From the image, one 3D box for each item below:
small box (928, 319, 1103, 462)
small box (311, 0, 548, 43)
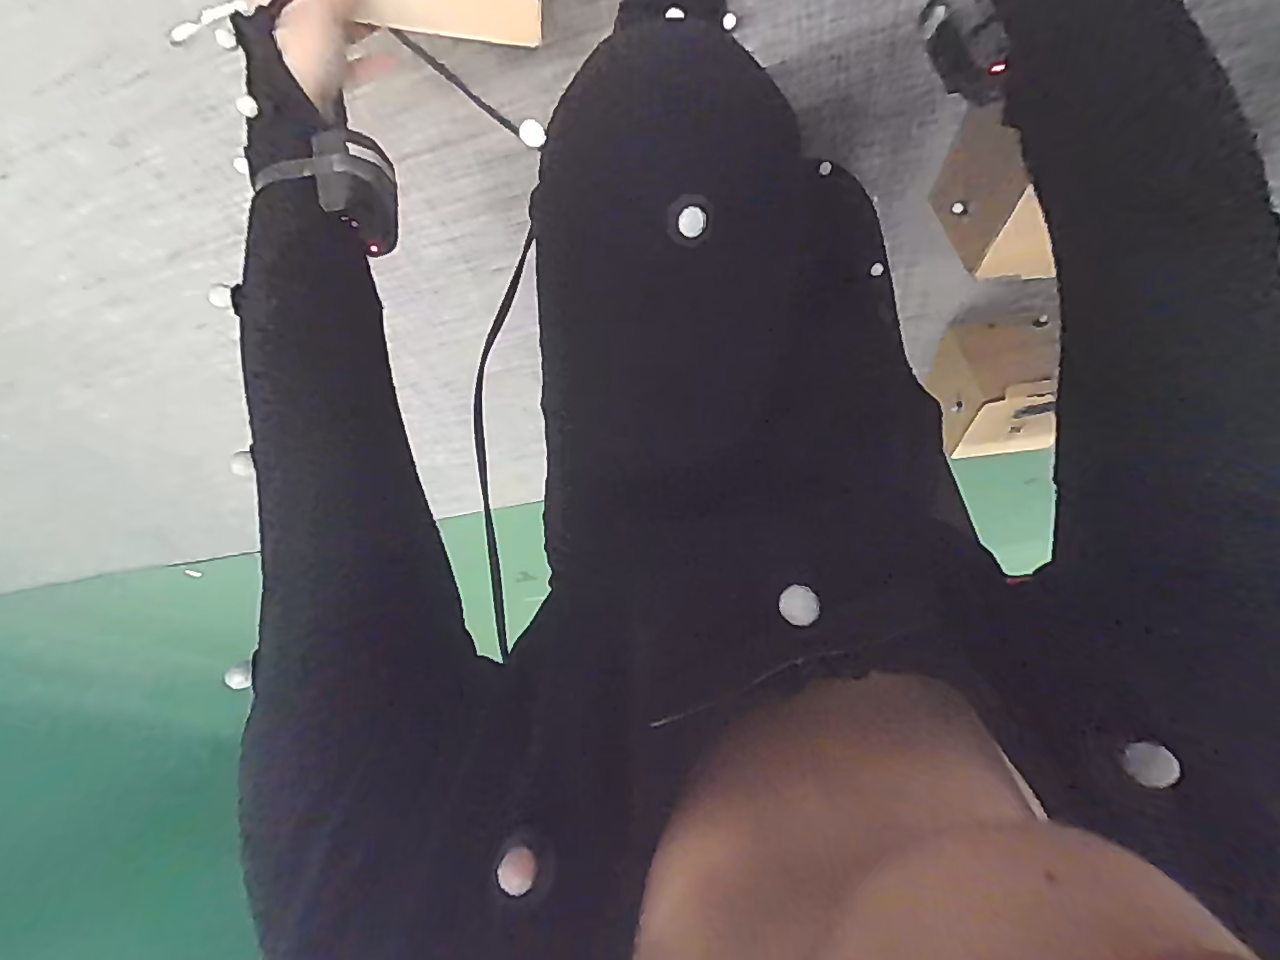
[{"bbox_3d":[0.615,-0.154,0.918,0.168,0.176,0.179,-7,148,8],"label":"small box"},{"bbox_3d":[-0.154,-0.465,0.397,0.179,0.176,0.168,3,147,-8],"label":"small box"}]
